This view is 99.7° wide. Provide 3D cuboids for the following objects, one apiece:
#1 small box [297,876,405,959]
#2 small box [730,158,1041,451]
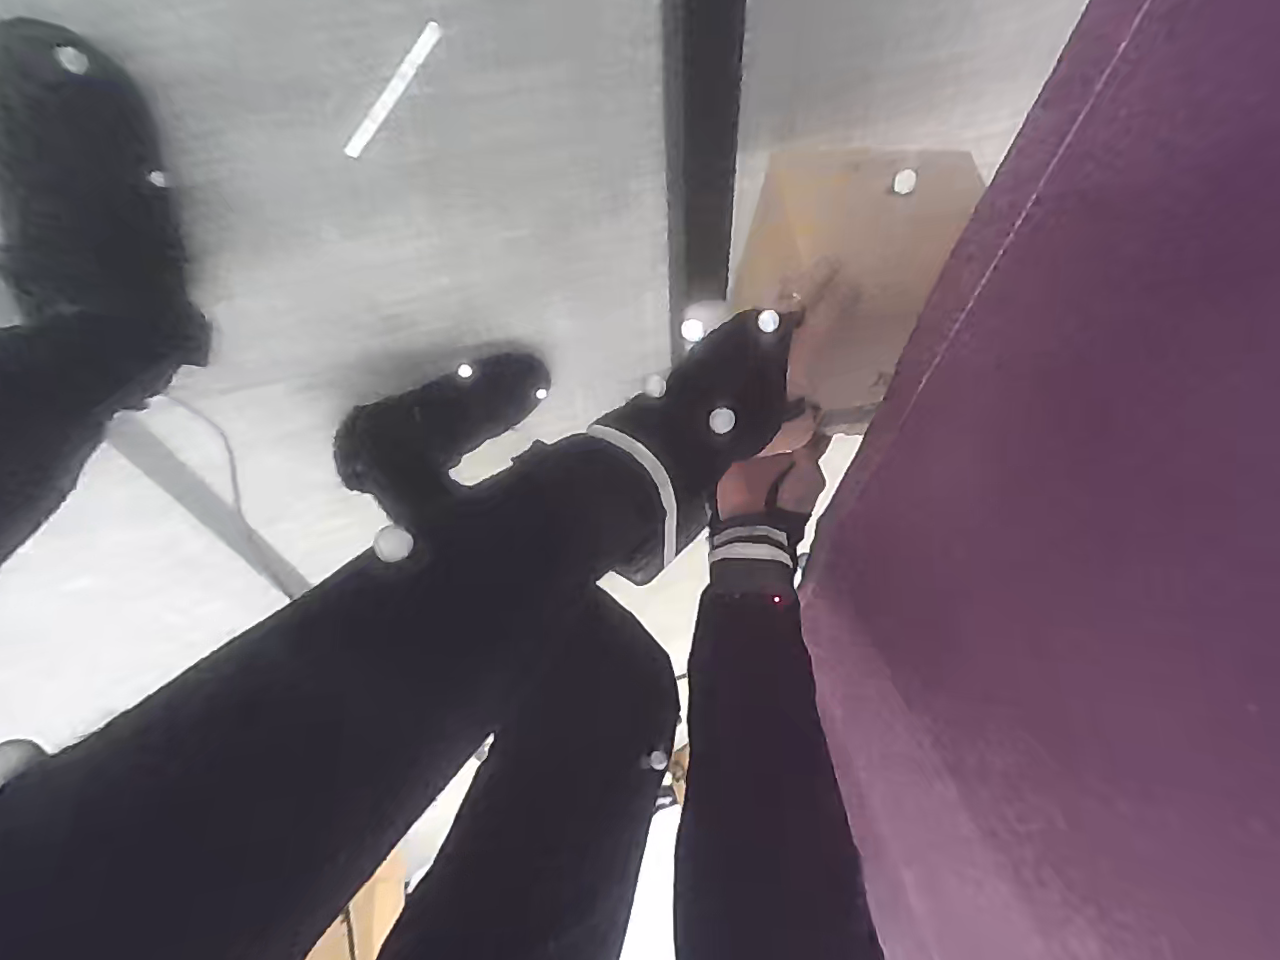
[{"bbox_3d":[-0.648,1.028,1.231,0.168,0.176,0.179,-14,141,-7],"label":"small box"},{"bbox_3d":[0.182,-0.140,0.468,0.168,0.176,0.179,-4,155,-6],"label":"small box"}]
